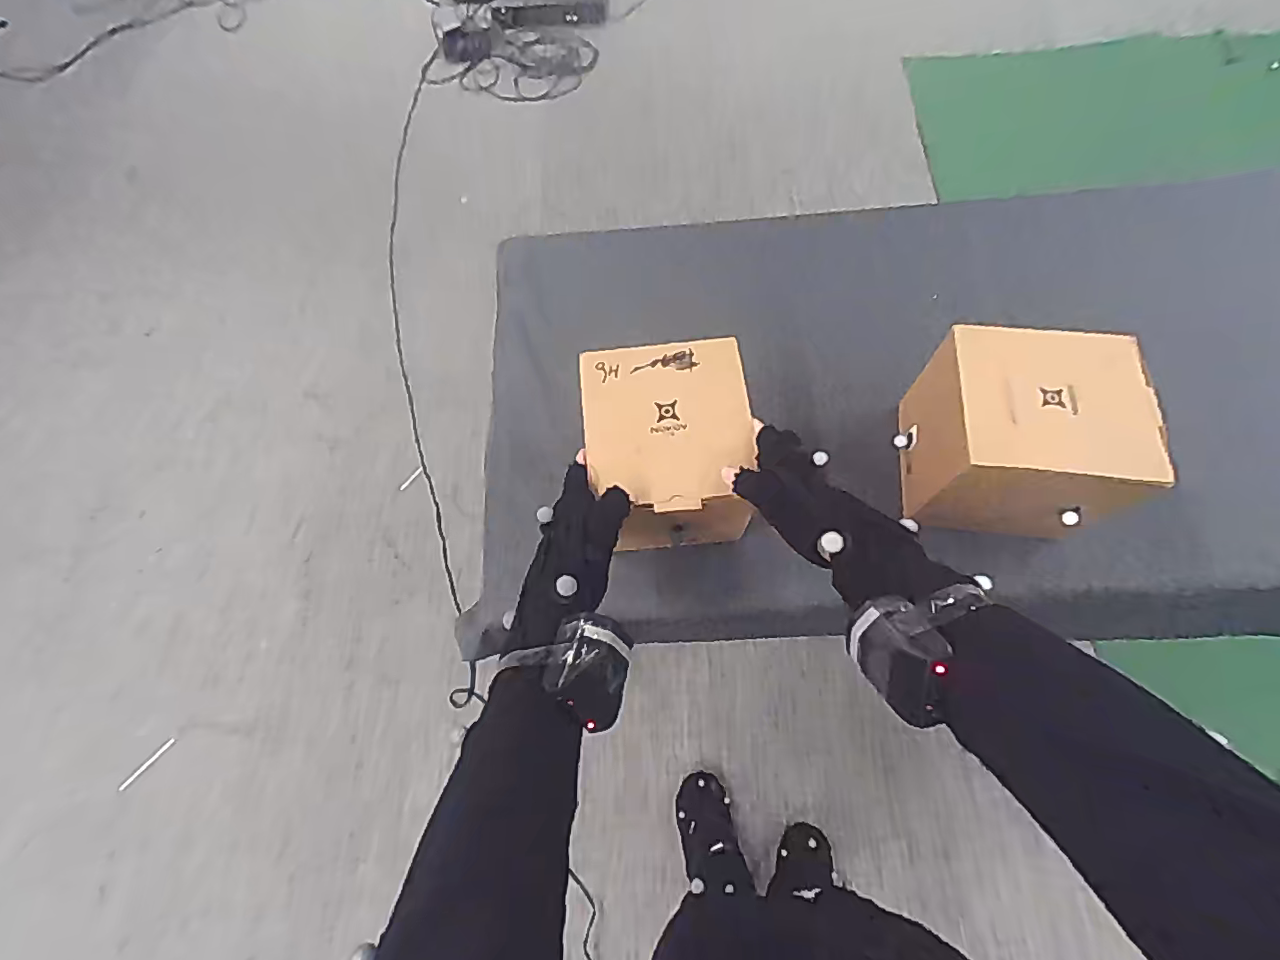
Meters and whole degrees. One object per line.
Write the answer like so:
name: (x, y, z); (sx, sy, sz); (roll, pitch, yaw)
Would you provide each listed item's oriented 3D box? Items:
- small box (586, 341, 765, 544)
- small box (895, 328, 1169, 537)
small box: (0.034, -0.030, 0.609); (0.168, 0.176, 0.179); (-5, 69, 0)
small box: (0.407, -0.044, 0.599); (0.179, 0.176, 0.168); (5, 65, 6)
